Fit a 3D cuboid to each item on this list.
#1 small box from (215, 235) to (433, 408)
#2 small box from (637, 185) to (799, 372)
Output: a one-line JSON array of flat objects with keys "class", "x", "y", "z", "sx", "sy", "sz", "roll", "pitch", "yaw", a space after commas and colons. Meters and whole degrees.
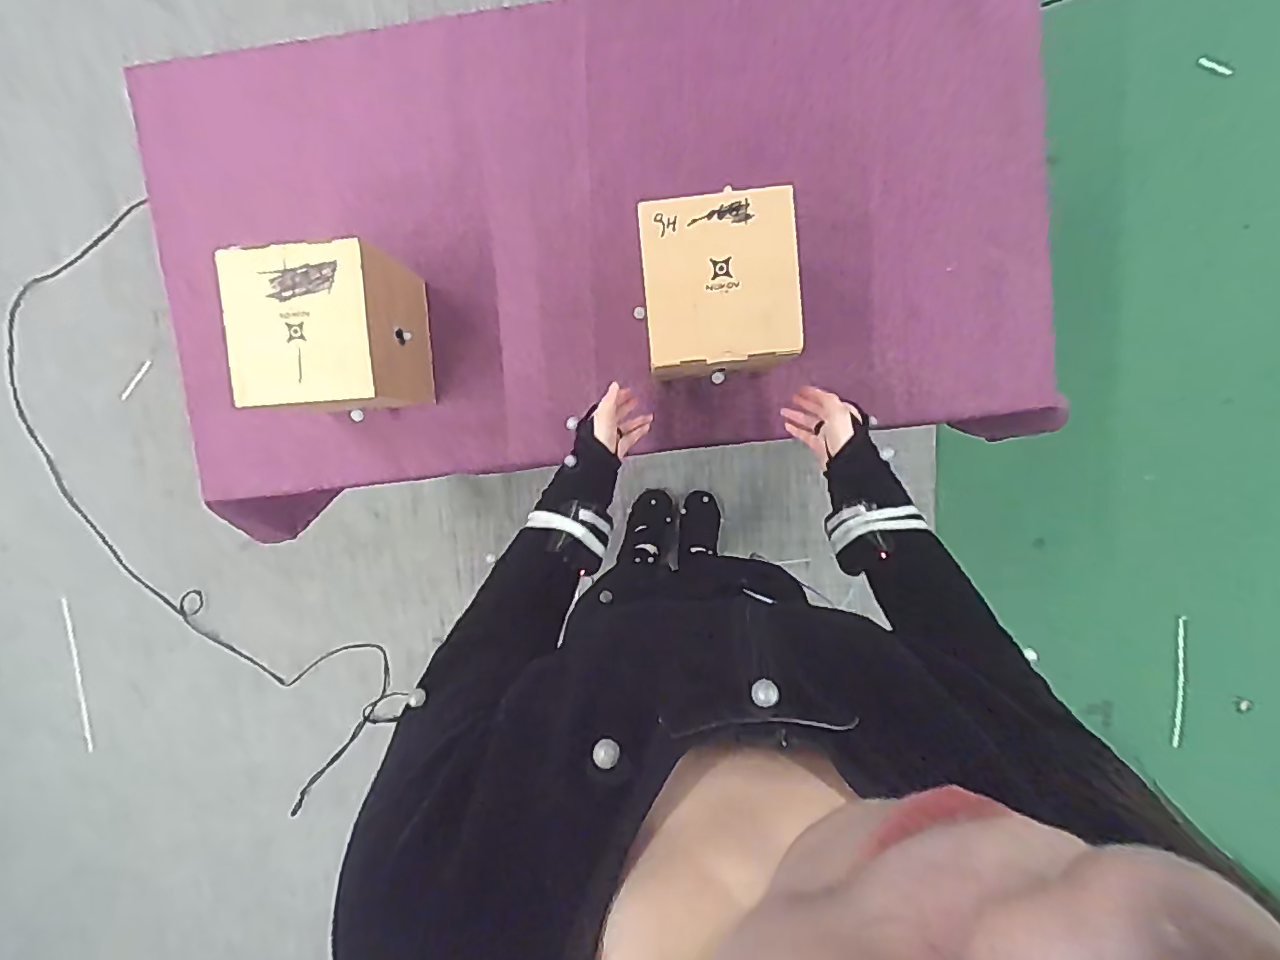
[{"class": "small box", "x": -0.377, "y": -0.185, "z": 0.676, "sx": 0.168, "sy": 0.176, "sz": 0.179, "roll": -3, "pitch": 96, "yaw": 2}, {"class": "small box", "x": 0.088, "y": -0.226, "z": 0.656, "sx": 0.168, "sy": 0.176, "sz": 0.179, "roll": -5, "pitch": 96, "yaw": 2}]
